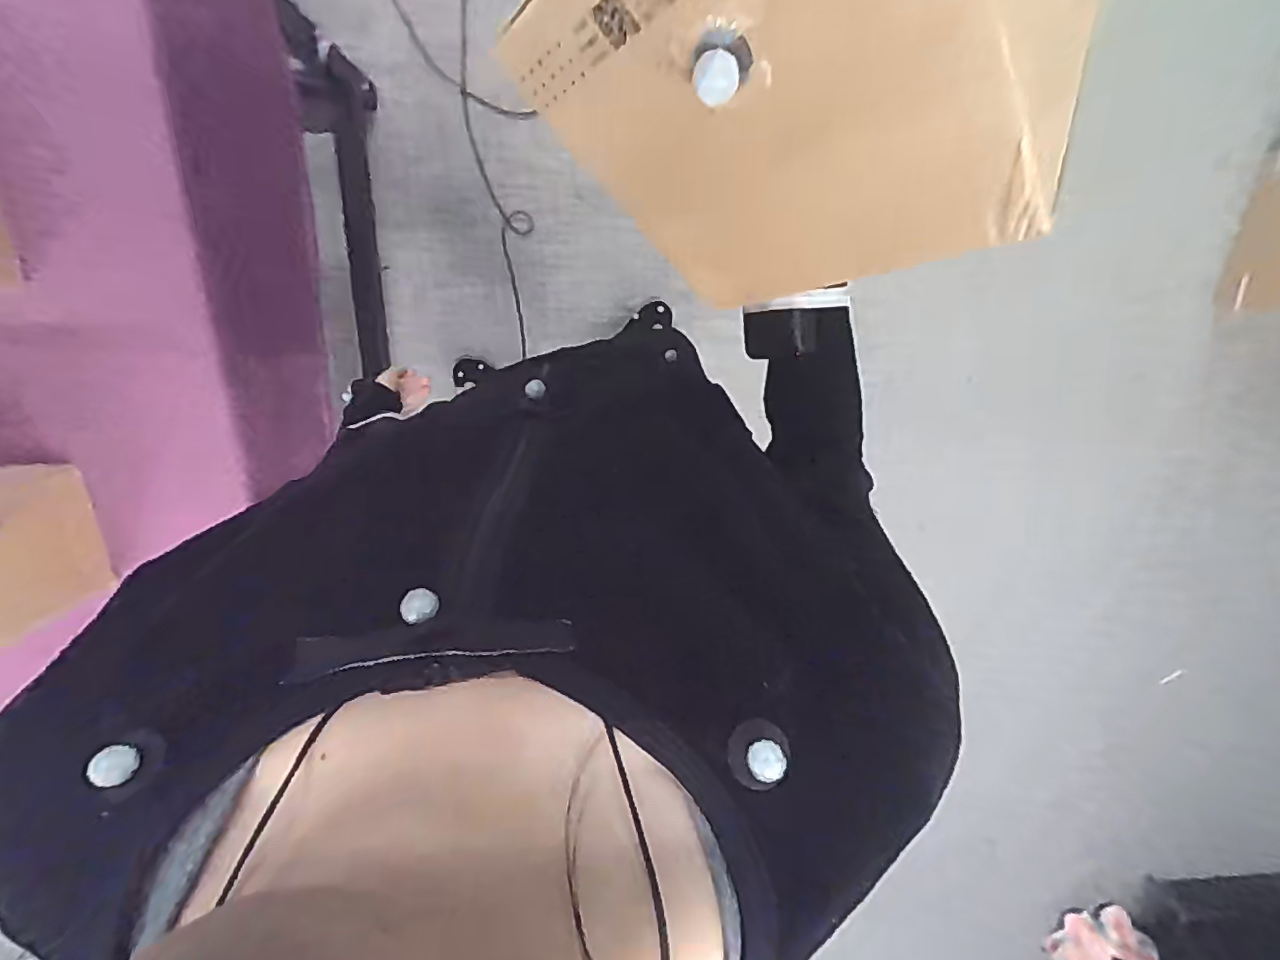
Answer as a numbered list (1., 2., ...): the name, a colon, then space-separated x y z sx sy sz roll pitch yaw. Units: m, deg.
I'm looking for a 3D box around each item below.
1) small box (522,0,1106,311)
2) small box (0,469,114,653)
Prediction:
1. small box: 0.083 -0.209 0.235 0.176 0.168 0.179 35 70 -38
2. small box: -0.805 0.094 0.655 0.168 0.176 0.179 -2 106 -4
